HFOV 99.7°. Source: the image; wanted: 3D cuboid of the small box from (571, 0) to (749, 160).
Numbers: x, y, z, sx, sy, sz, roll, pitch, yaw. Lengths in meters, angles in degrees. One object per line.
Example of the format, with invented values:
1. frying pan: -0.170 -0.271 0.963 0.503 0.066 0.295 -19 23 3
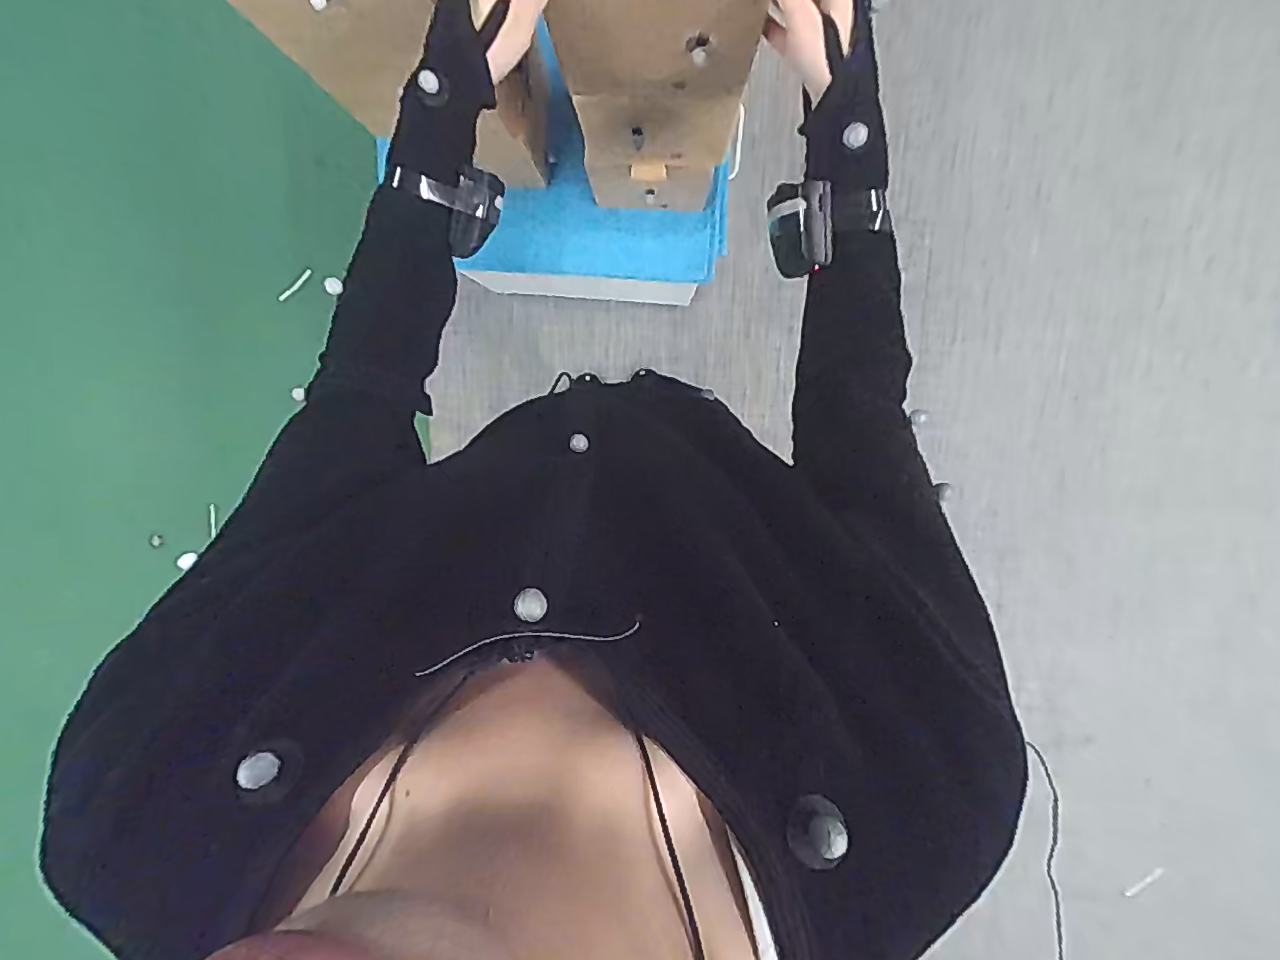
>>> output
1. small box: 0.022 -0.459 0.568 0.168 0.176 0.179 1 100 2

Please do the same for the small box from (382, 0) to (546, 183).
1. small box: -0.225 -0.517 0.726 0.179 0.176 0.168 2 99 1

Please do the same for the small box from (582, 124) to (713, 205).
1. small box: 0.017 -0.488 0.728 0.168 0.176 0.179 3 101 0

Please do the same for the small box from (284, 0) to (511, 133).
1. small box: -0.237 -0.490 0.564 0.179 0.176 0.168 2 99 1
